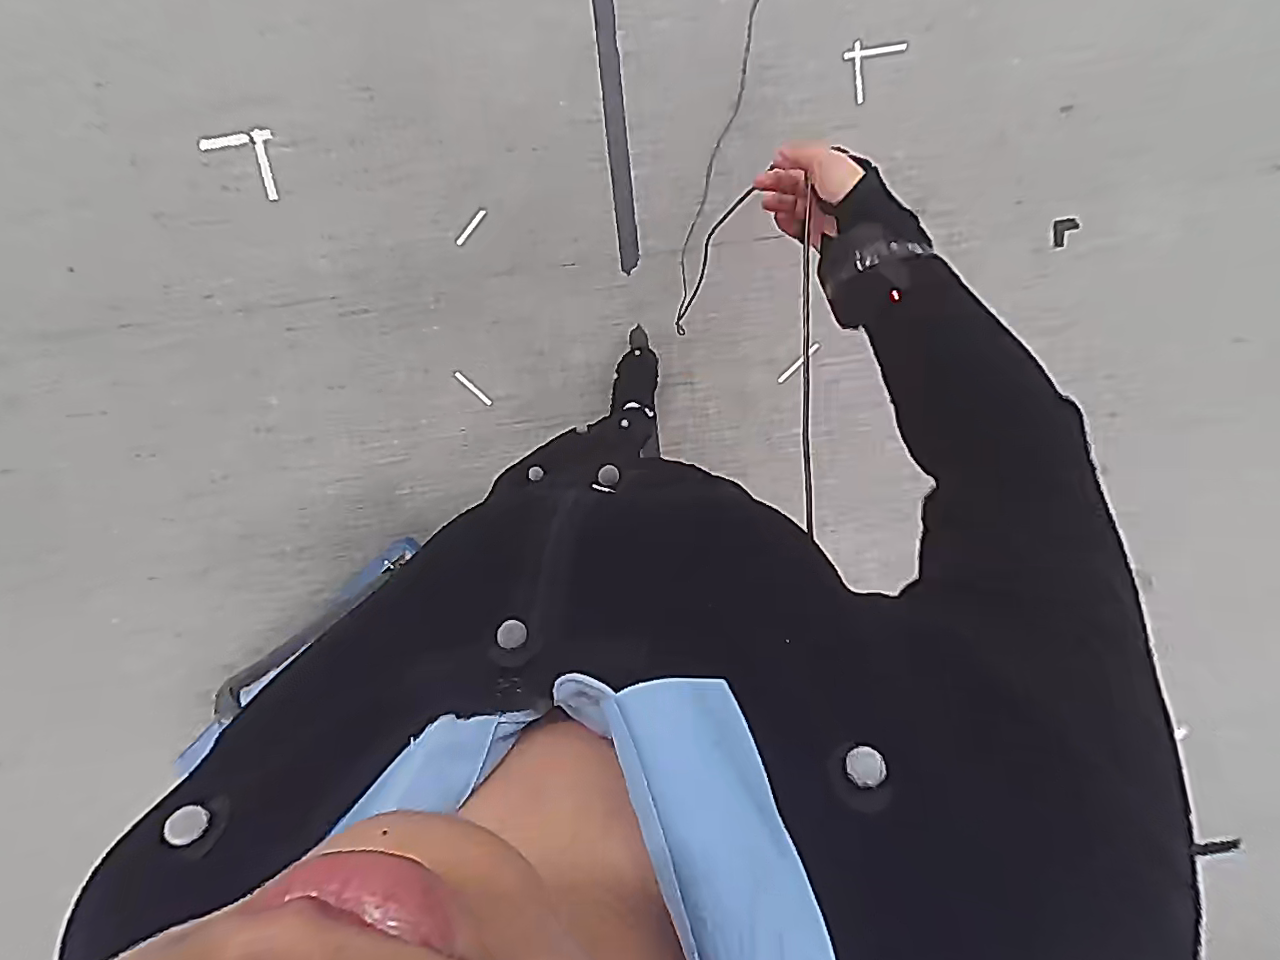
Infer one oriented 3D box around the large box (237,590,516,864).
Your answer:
[{"bbox_3d":[-0.553,0.531,1.222,0.320,0.320,0.408,-44,97,5],"label":"large box"}]
